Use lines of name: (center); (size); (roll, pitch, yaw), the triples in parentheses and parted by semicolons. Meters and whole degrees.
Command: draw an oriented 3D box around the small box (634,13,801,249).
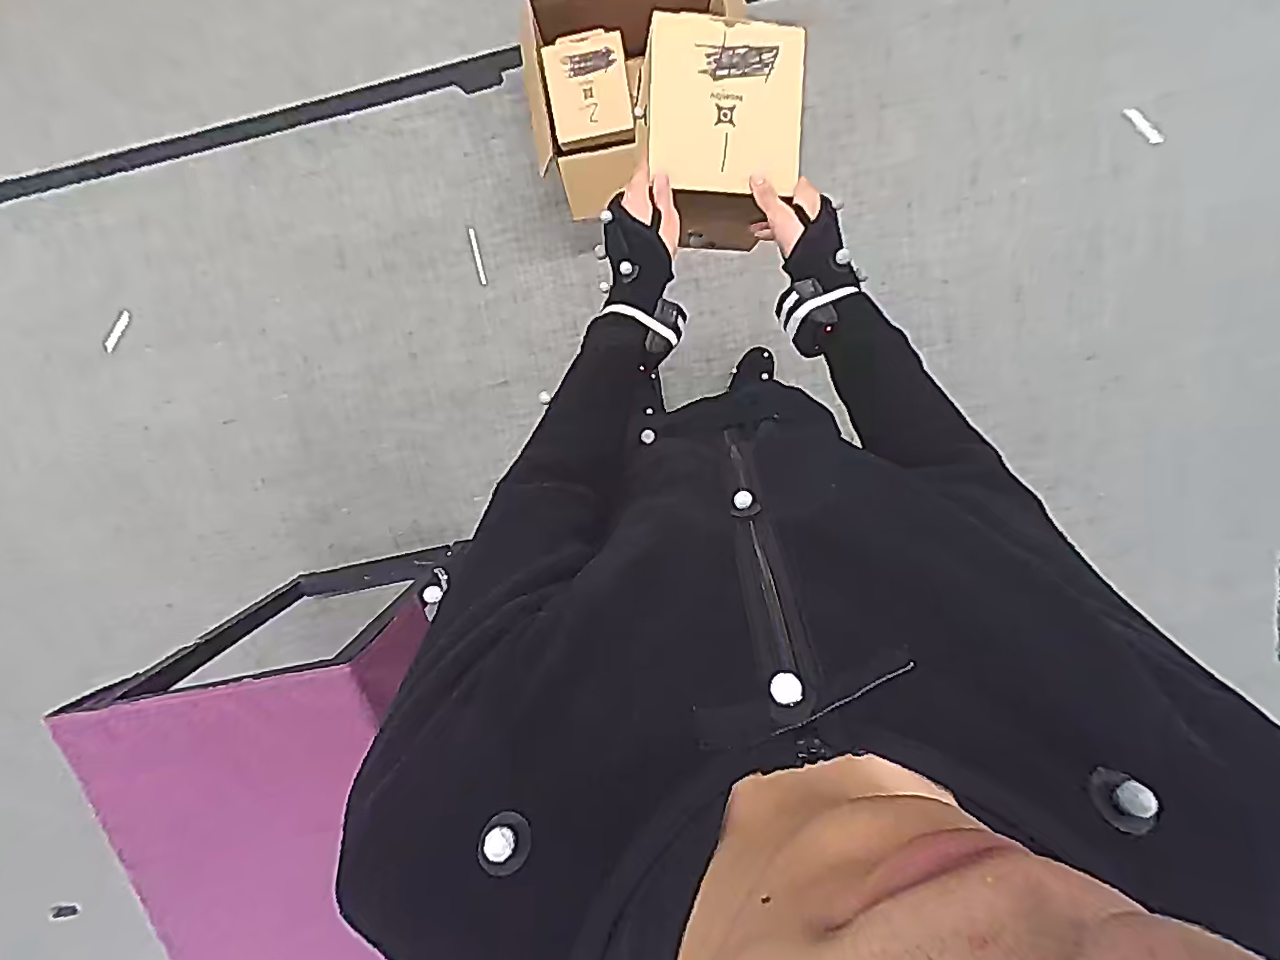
small box: (0.082, -0.404, 0.655); (0.168, 0.176, 0.179); (1, 94, -6)
